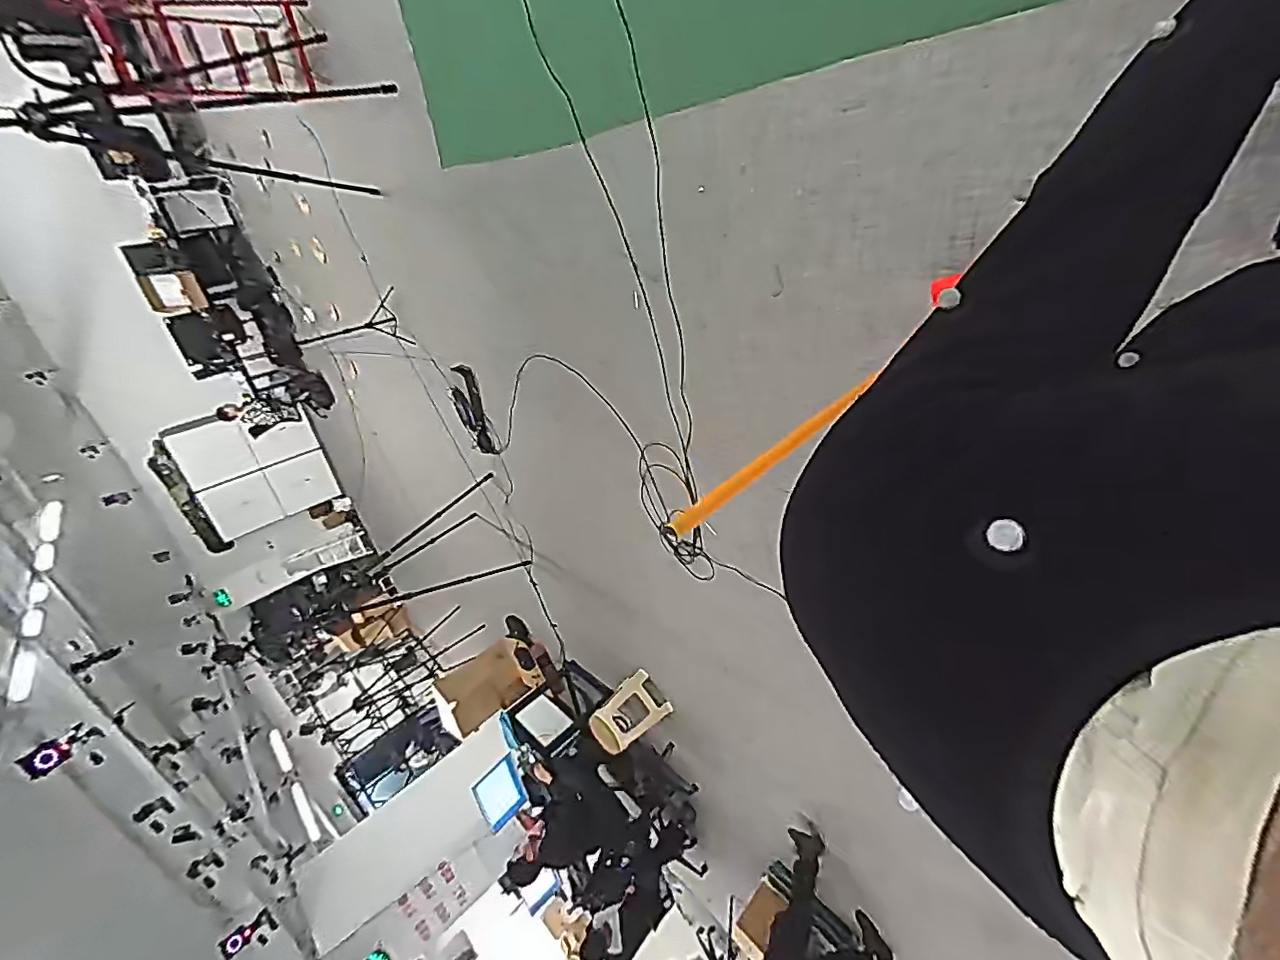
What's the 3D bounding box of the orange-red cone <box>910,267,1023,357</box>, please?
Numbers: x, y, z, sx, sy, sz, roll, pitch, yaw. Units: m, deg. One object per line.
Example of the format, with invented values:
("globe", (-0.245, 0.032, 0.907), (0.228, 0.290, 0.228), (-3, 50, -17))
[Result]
("orange-red cone", (0.741, -0.360, 1.293), (0.199, 0.360, 0.198), (3, 117, 52))
